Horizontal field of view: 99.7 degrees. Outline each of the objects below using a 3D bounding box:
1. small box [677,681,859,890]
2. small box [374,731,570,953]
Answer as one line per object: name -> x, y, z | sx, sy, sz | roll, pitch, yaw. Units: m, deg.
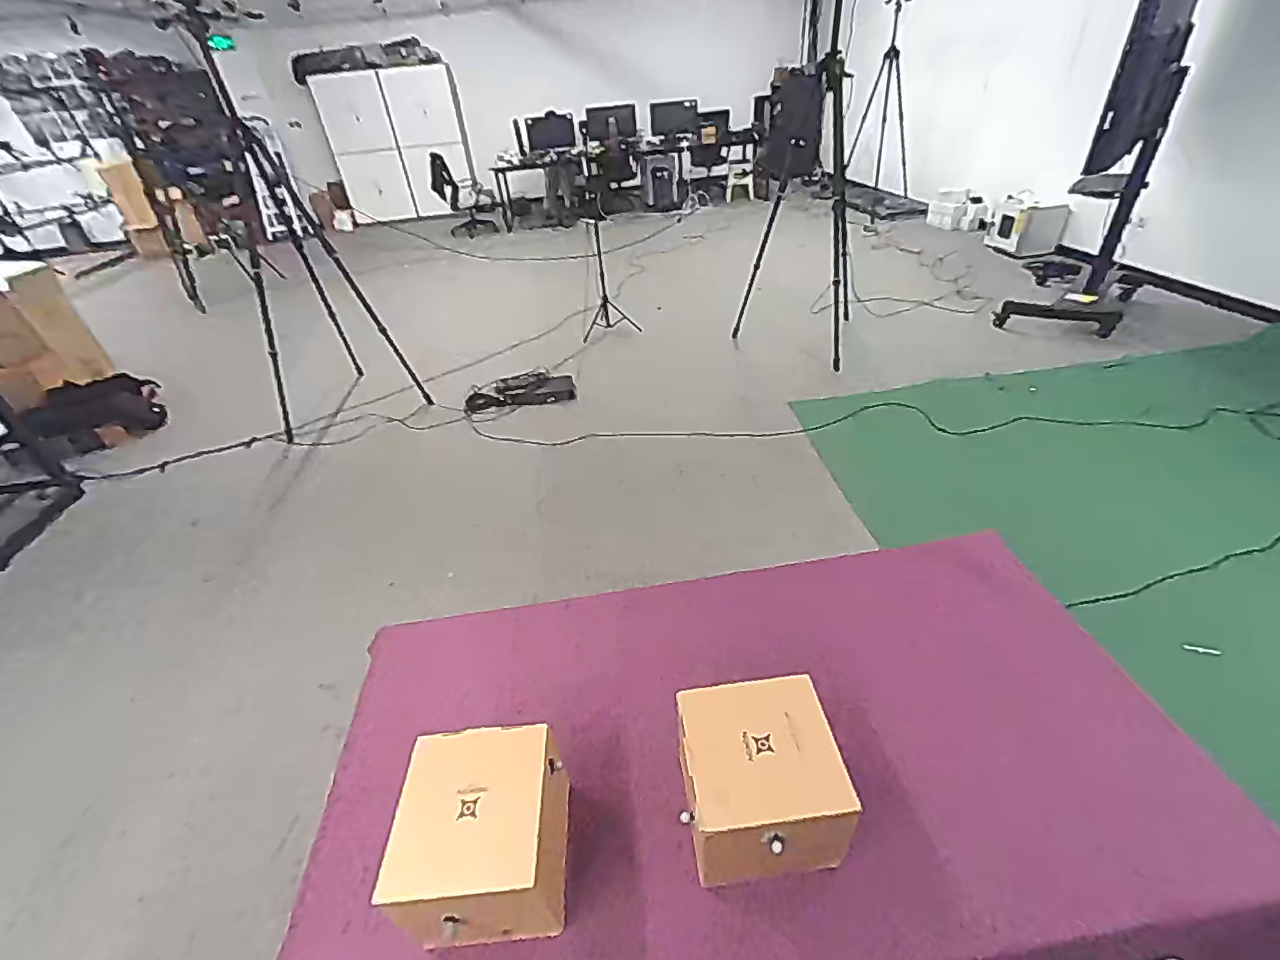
small box -> 0.147, 0.380, 0.673 | 0.179, 0.176, 0.168 | -7, 36, -1
small box -> -0.182, 0.436, 0.651 | 0.168, 0.176, 0.179 | -7, 35, 0
